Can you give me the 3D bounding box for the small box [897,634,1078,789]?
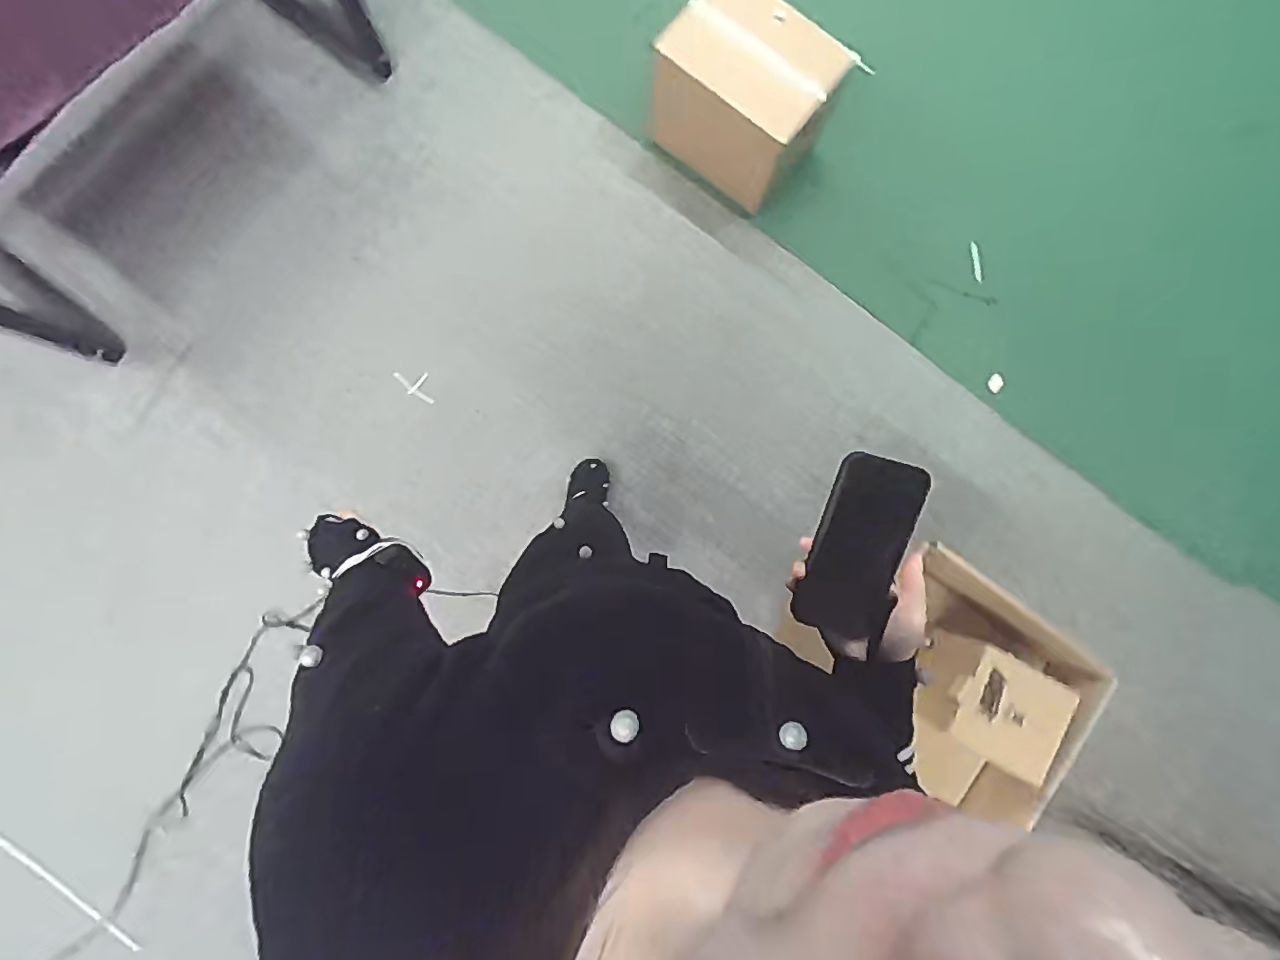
[{"bbox_3d":[0.590,0.387,0.943,0.179,0.176,0.168,30,84,0],"label":"small box"}]
